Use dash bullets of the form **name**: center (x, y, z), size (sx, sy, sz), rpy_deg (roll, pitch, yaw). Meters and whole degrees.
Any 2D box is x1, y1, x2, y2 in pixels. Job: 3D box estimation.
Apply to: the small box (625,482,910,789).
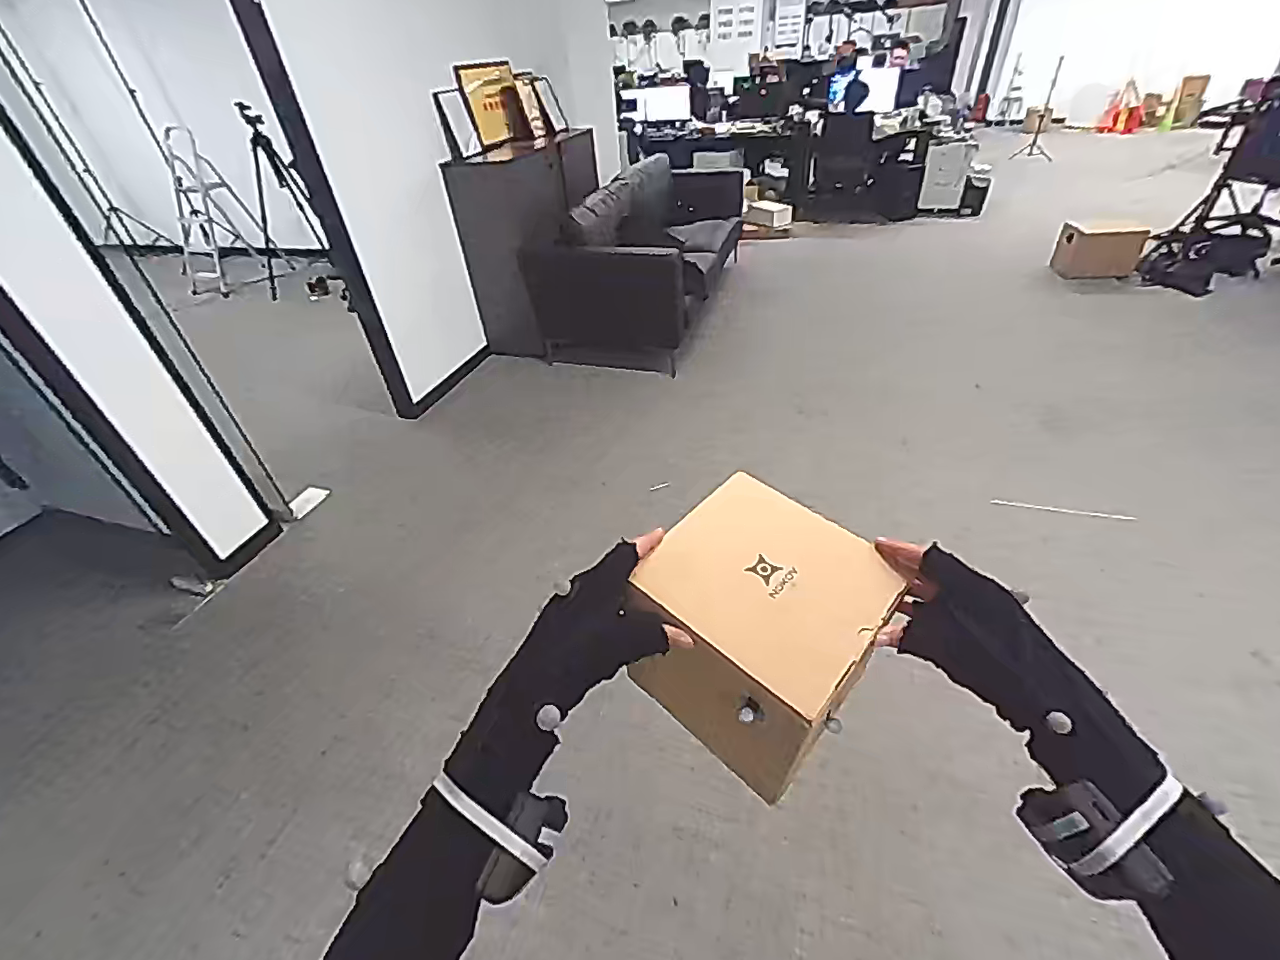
- **small box**: center (0.102, 0.139, 0.495), size (0.179, 0.176, 0.168), rpy_deg (33, 53, 29)
